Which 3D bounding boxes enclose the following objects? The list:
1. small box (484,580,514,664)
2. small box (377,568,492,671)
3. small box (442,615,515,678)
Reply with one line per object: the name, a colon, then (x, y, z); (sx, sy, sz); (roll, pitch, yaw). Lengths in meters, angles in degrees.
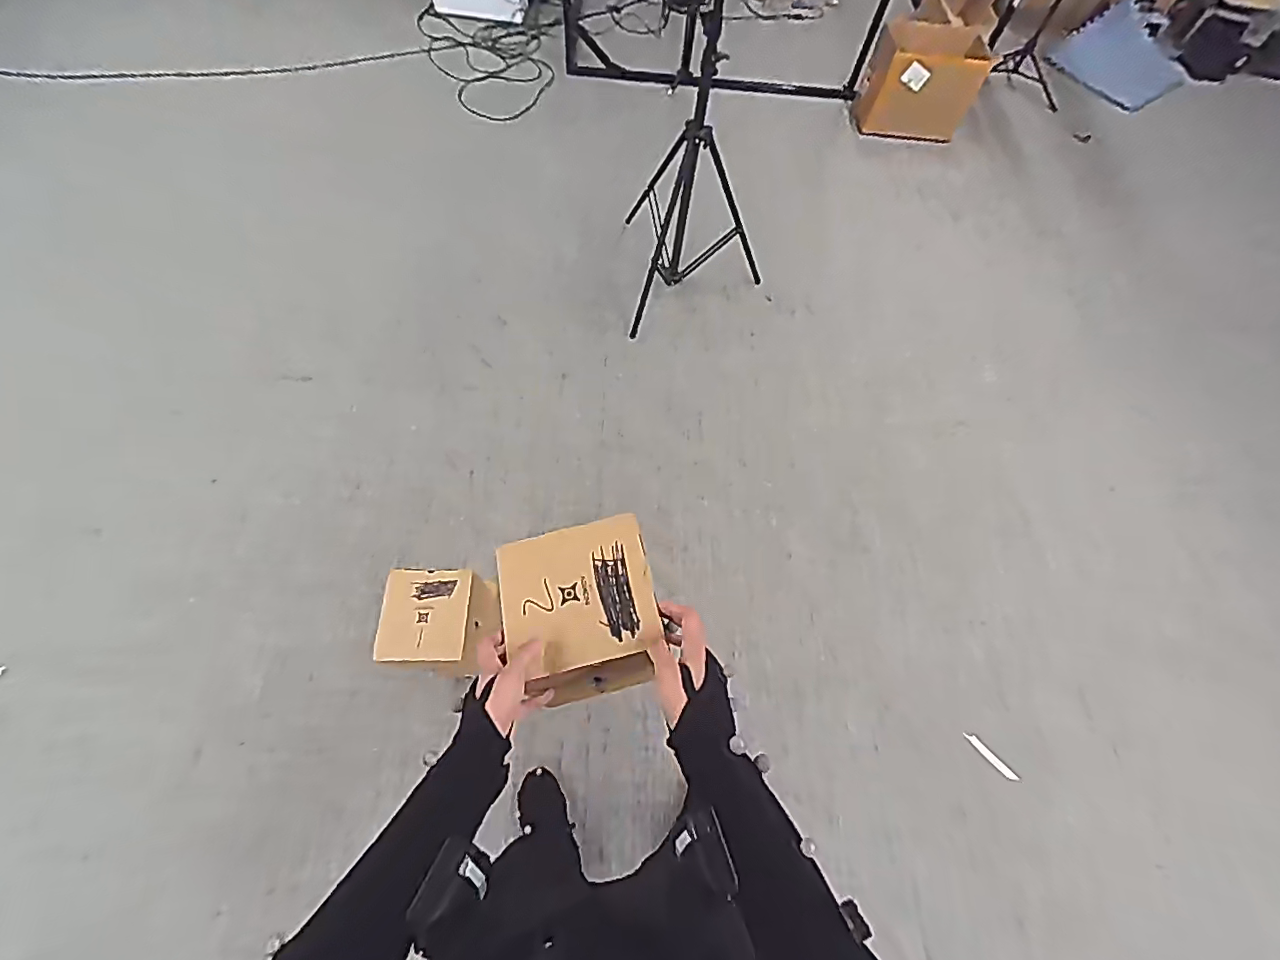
small box: (-0.399, 0.338, 1.259); (0.179, 0.176, 0.168); (-2, 65, -5)
small box: (-0.405, 0.288, 1.100); (0.168, 0.176, 0.179); (1, 65, -2)
small box: (-0.422, 0.411, 1.404); (0.168, 0.176, 0.179); (-1, 65, -4)
